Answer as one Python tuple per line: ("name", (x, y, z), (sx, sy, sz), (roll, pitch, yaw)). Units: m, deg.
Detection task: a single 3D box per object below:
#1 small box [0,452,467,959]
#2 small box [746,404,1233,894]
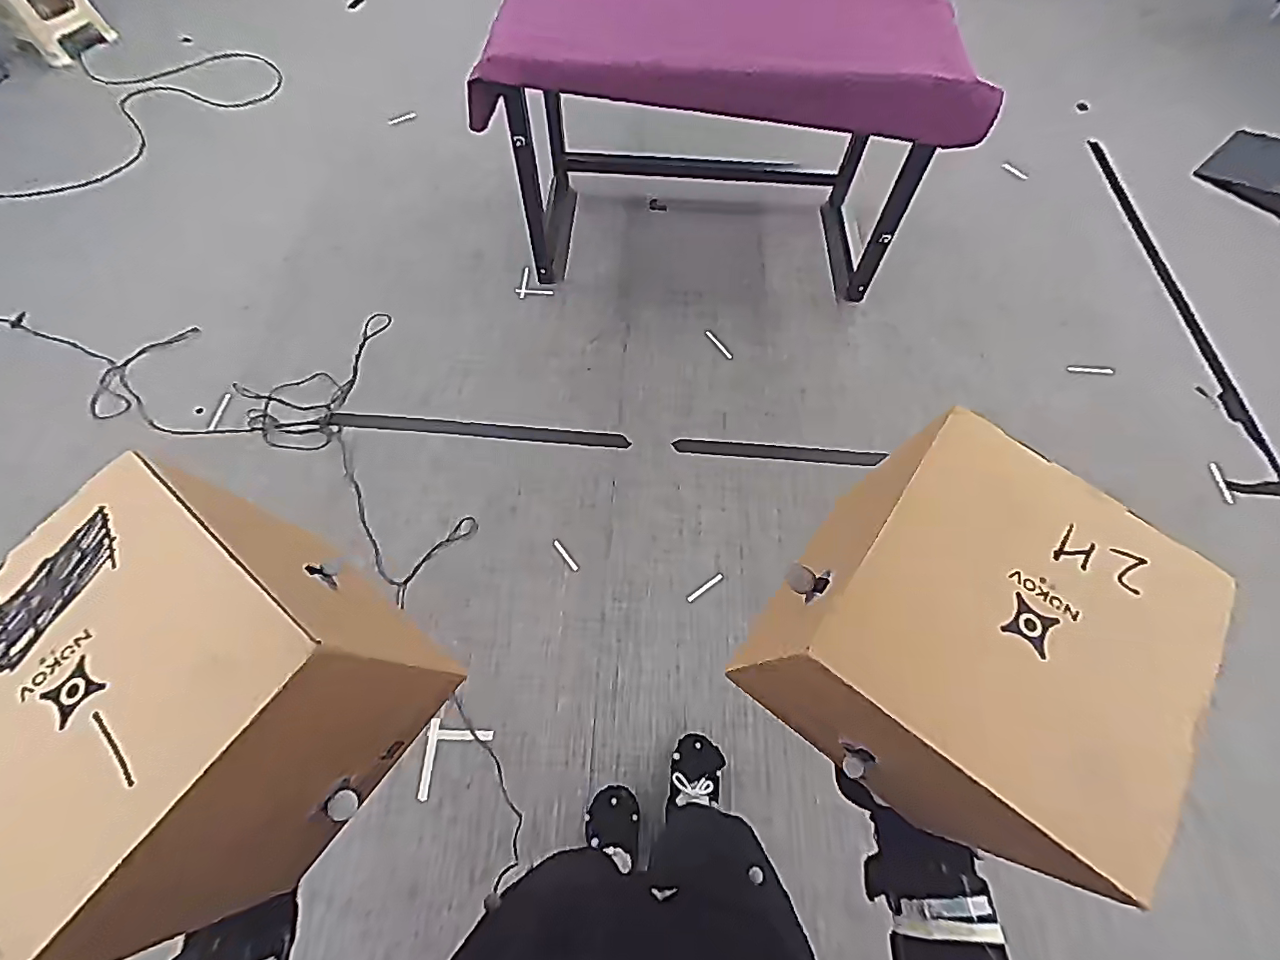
("small box", (-0.242, 0.120, 0.319), (0.179, 0.176, 0.168), (34, 75, 18))
("small box", (0.185, 0.094, 0.338), (0.168, 0.176, 0.179), (37, 68, 9))
